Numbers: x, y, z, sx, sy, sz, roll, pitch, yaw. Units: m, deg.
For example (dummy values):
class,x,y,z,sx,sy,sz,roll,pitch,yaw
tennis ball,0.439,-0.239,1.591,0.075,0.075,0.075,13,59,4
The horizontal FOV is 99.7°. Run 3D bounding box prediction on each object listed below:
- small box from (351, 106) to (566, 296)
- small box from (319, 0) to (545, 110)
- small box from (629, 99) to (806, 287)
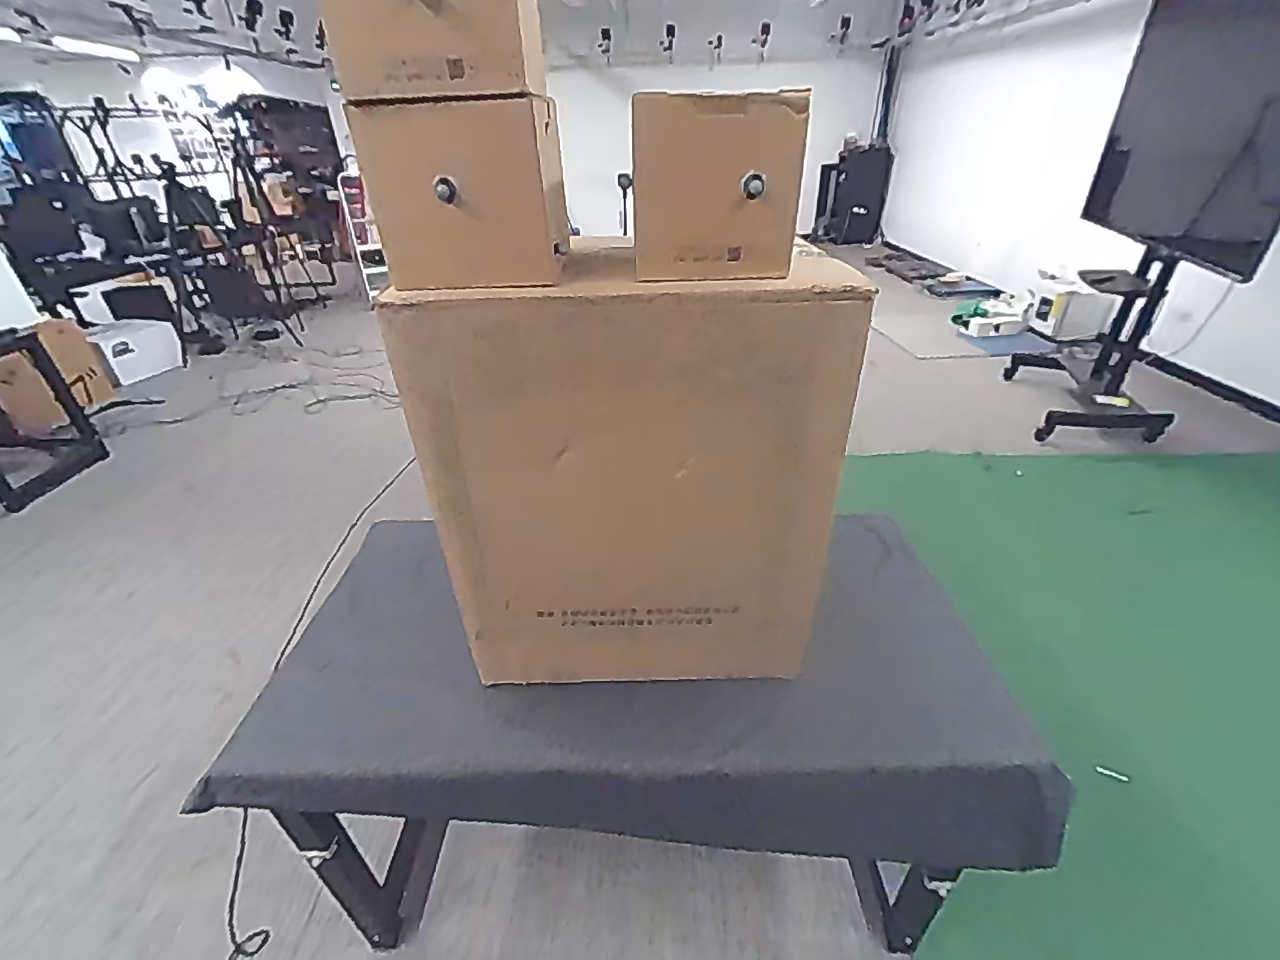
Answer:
class,x,y,z,sx,sy,sz,roll,pitch,yaw
small box,-0.177,-0.310,0.599,0.179,0.176,0.168,-2,35,-2
small box,-0.186,-0.446,0.508,0.168,0.176,0.179,-3,35,-1
small box,0.074,-0.321,0.606,0.168,0.176,0.179,0,33,0
